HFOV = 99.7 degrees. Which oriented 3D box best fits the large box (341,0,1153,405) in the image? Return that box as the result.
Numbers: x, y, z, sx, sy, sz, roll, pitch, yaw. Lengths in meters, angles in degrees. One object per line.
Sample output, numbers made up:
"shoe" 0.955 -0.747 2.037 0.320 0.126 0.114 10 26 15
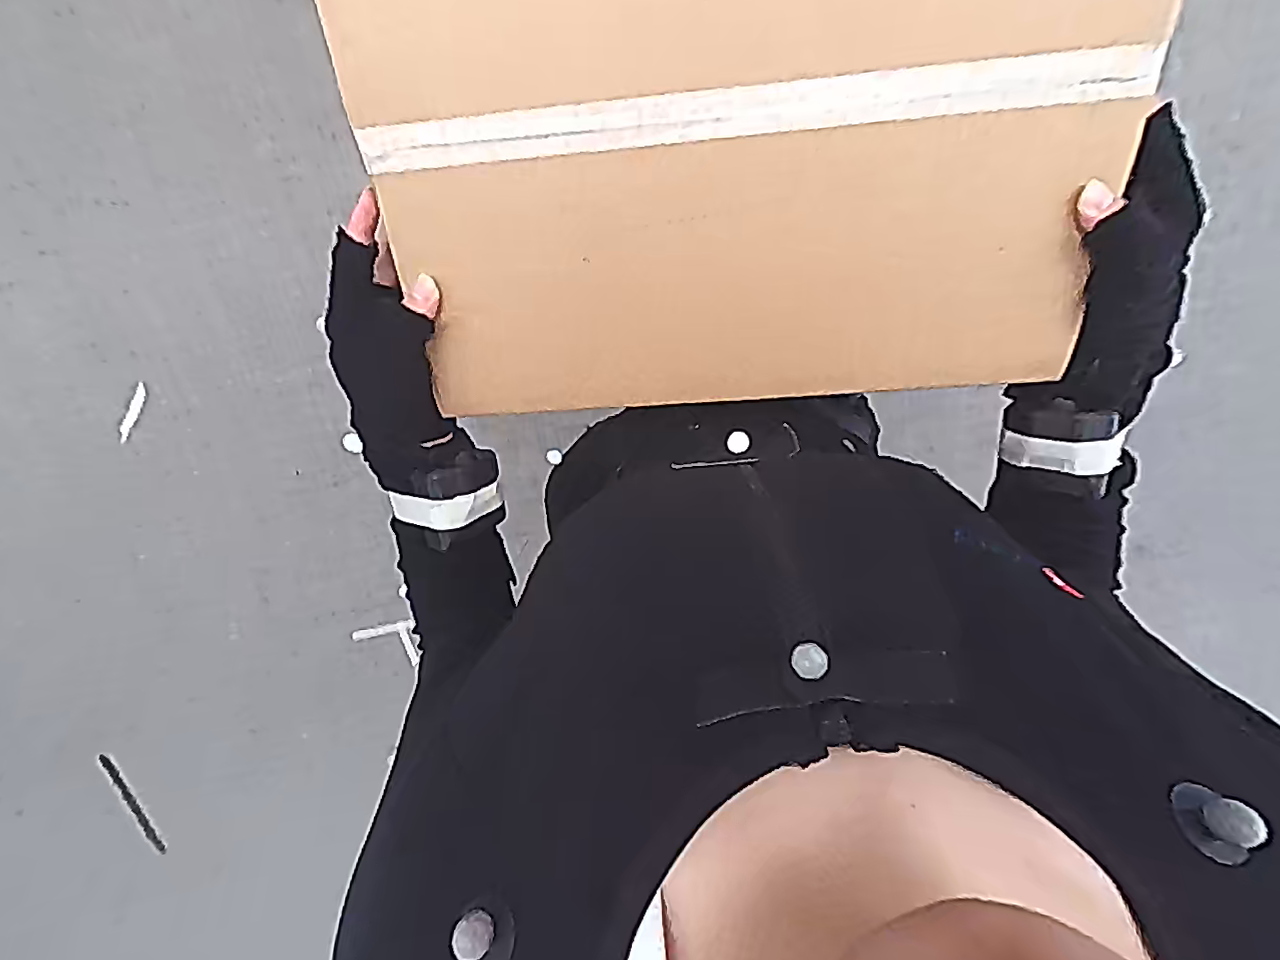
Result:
"large box" 0.055 -0.270 0.419 0.408 0.320 0.320 -3 121 4
